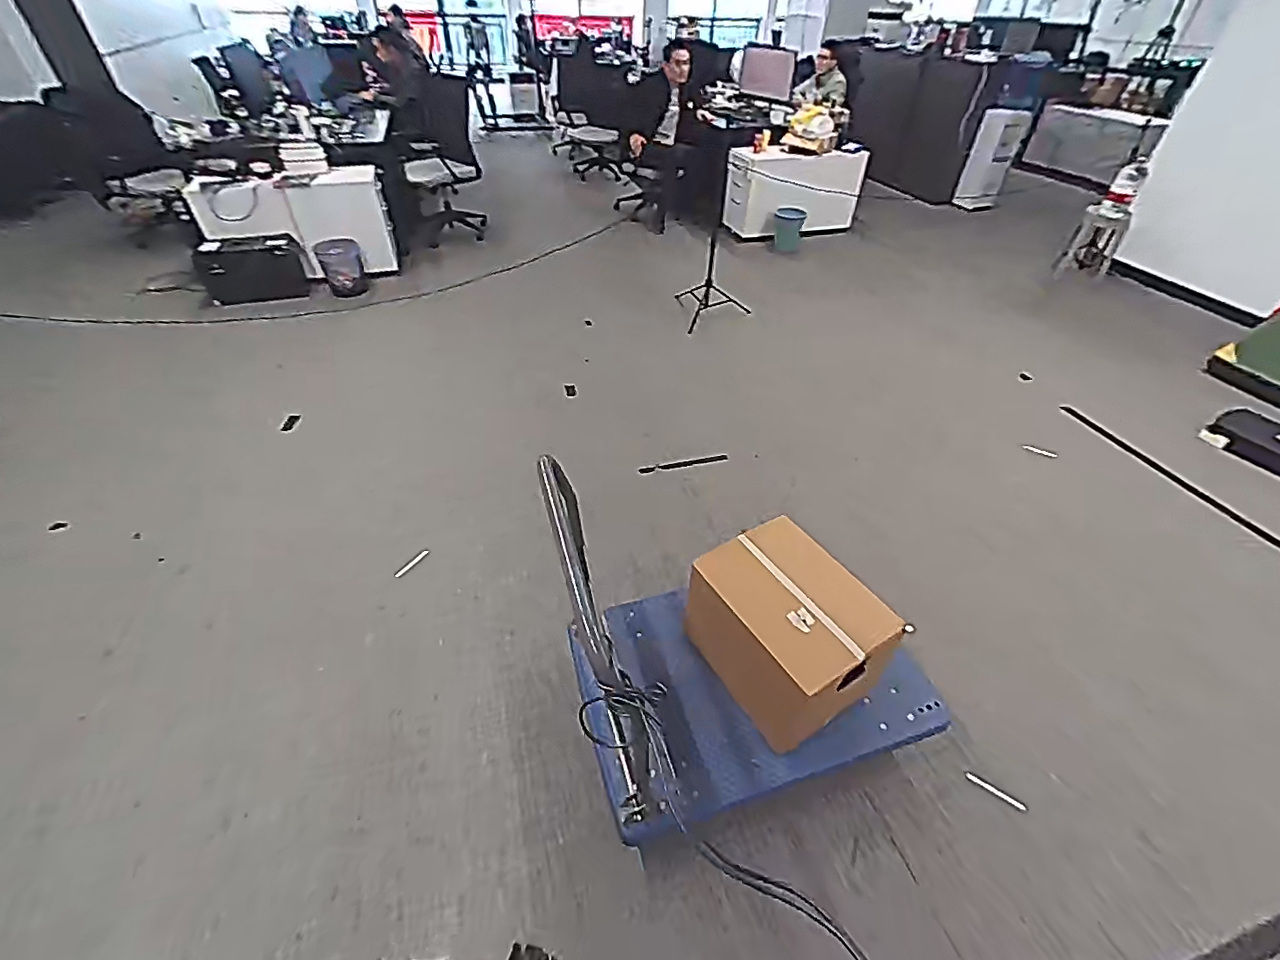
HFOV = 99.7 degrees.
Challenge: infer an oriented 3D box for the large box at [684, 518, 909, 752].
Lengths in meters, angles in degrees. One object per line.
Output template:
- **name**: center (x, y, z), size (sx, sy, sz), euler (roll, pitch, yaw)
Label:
- **large box**: center (0.358, 0.373, 1.352), size (0.320, 0.320, 0.408), euler (-23, 49, -23)
